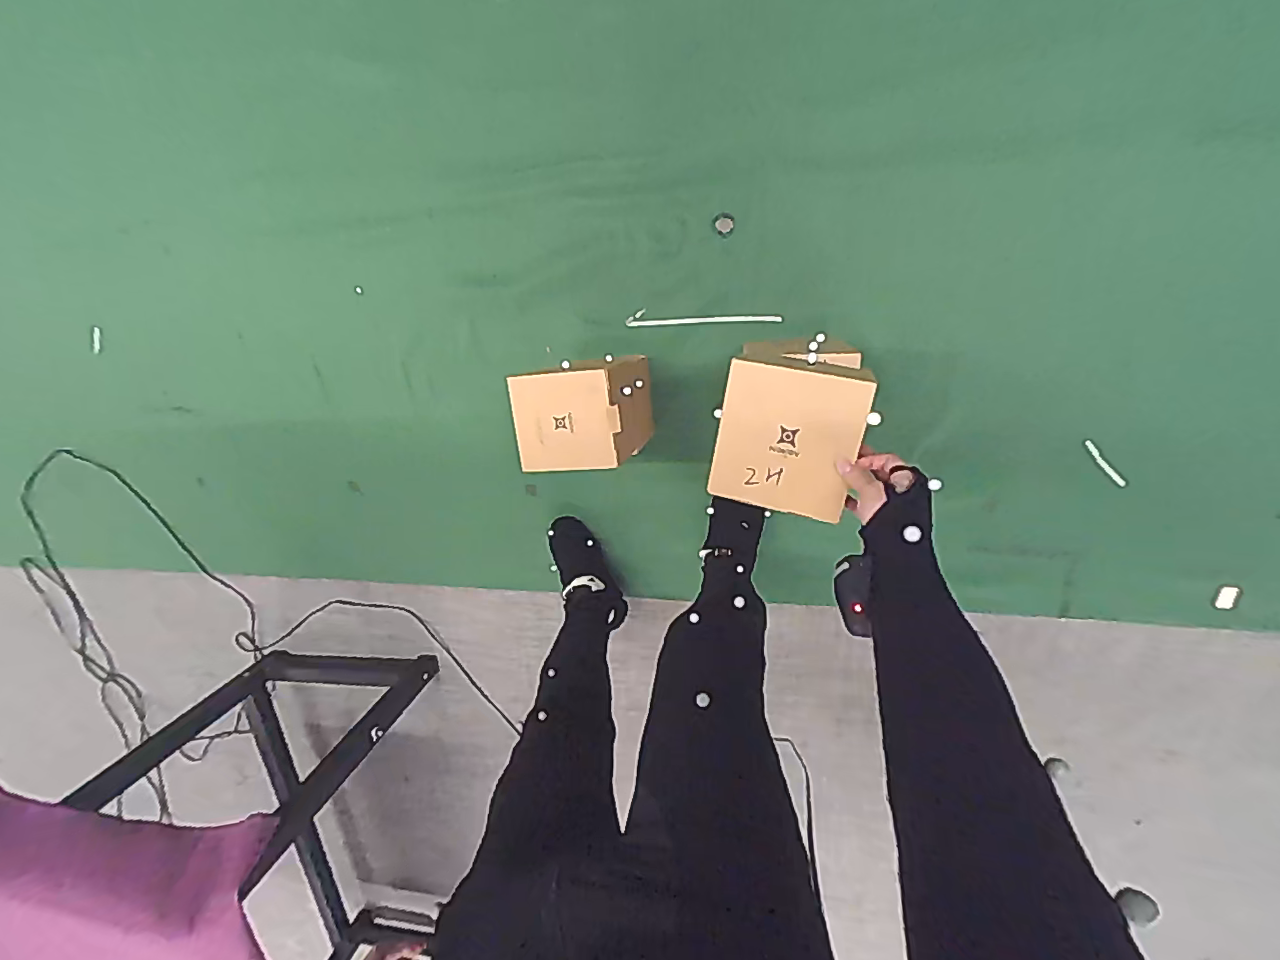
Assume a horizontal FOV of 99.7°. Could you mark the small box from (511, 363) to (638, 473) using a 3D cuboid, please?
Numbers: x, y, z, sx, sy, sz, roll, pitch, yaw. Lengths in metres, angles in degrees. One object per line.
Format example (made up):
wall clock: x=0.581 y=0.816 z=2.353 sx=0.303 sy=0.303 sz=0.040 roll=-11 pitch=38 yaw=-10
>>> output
small box: x=-0.105 y=-0.114 z=0.964 sx=0.179 sy=0.176 sz=0.168 roll=-1 pitch=106 yaw=14

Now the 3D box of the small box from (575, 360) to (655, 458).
small box: x=-0.069 y=-0.148 z=1.120 sx=0.168 sy=0.176 sz=0.179 roll=-2 pitch=106 yaw=14

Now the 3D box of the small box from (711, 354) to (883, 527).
small box: x=0.203 y=-0.064 z=0.711 sx=0.168 sy=0.176 sz=0.179 roll=14 pitch=110 yaw=16

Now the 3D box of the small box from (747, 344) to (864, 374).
small box: x=0.255 y=-0.122 z=0.877 sx=0.168 sy=0.176 sz=0.179 roll=2 pitch=110 yaw=11
